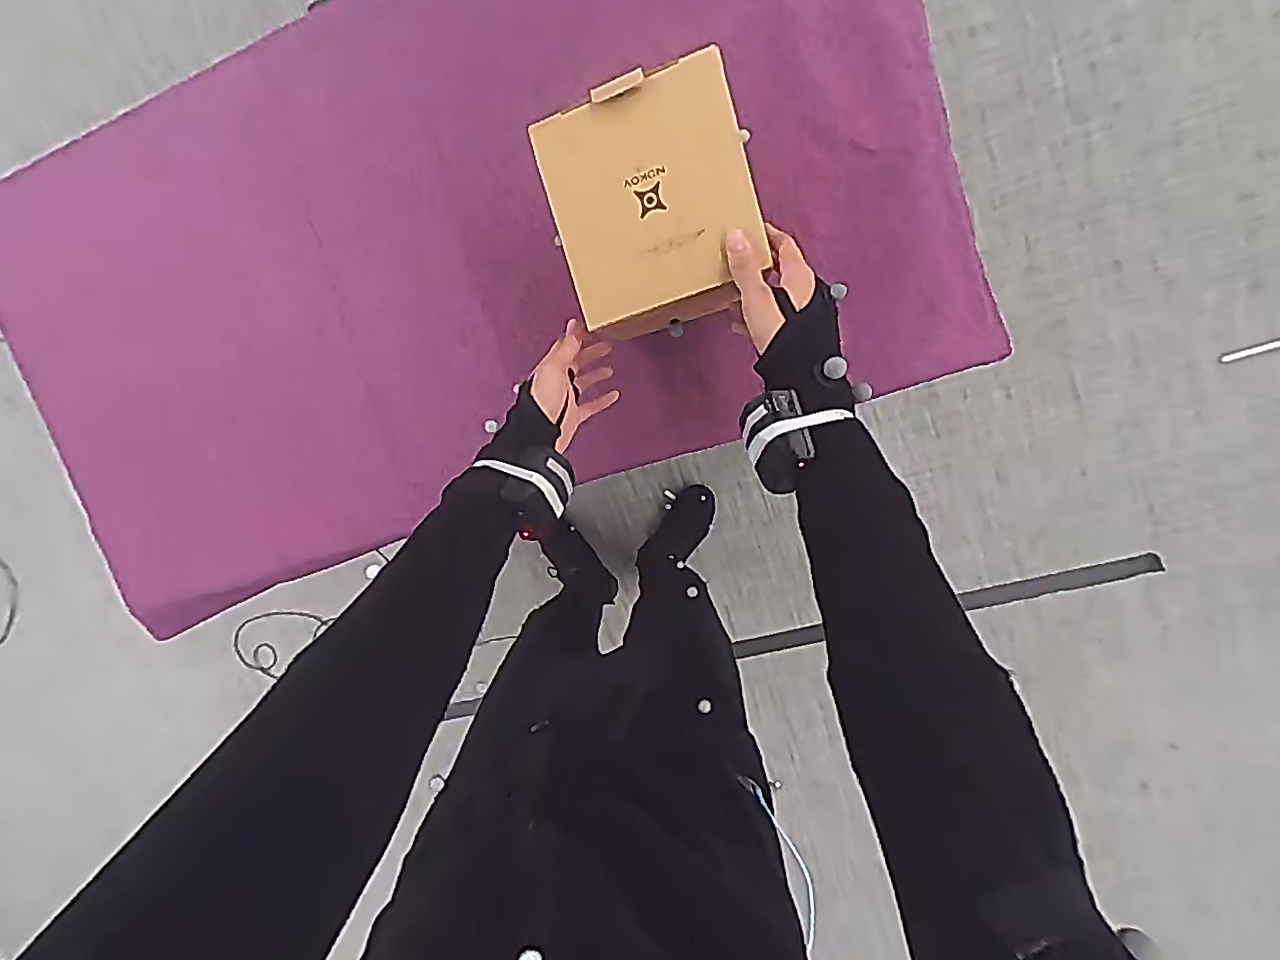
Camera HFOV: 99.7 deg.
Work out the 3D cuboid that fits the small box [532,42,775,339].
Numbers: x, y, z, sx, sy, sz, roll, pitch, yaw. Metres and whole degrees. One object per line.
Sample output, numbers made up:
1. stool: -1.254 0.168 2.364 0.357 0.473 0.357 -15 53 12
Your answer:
1. small box: 0.022 -0.246 0.514 0.168 0.176 0.179 -14 98 13
